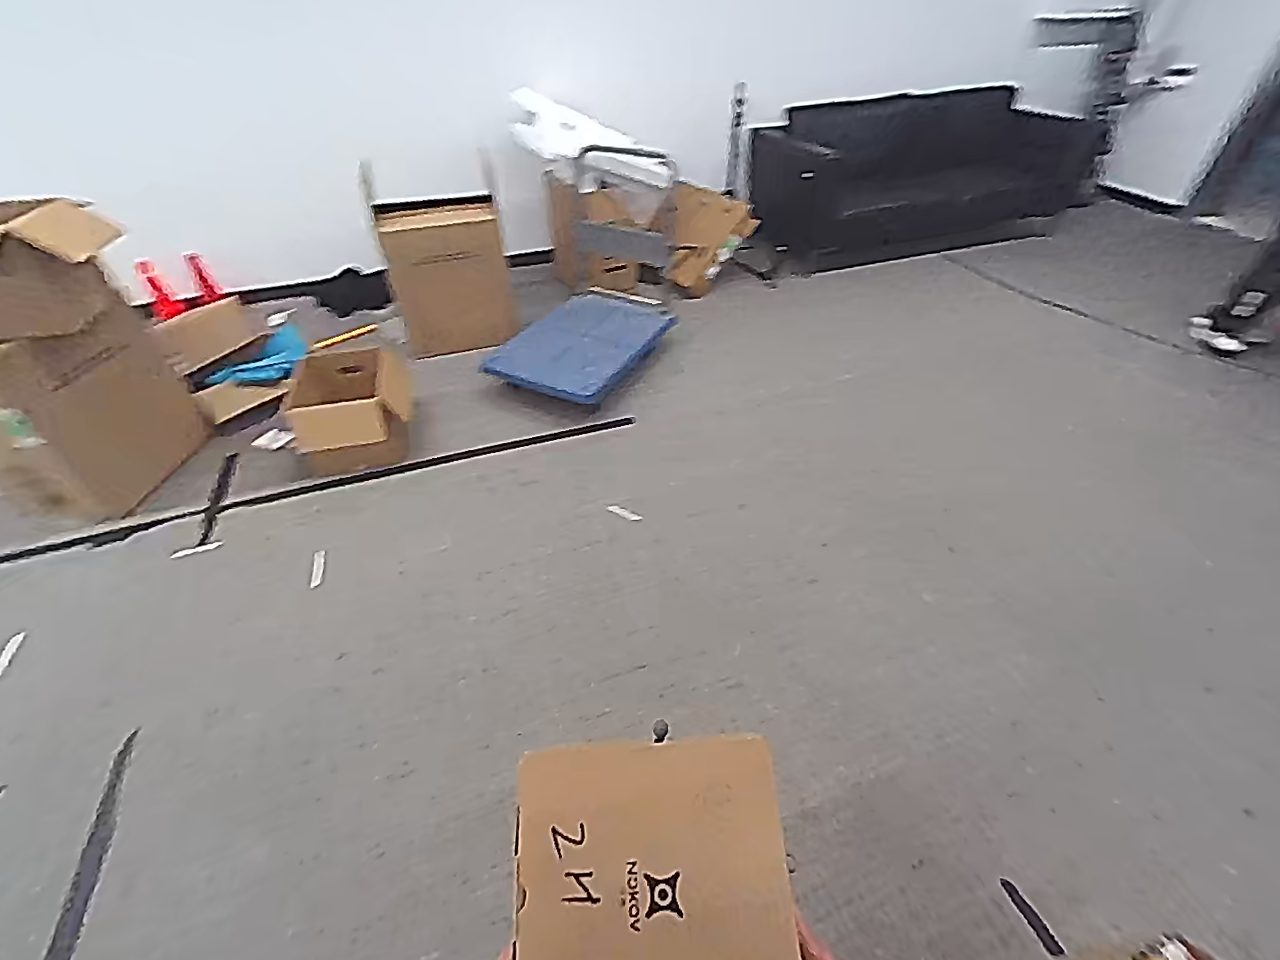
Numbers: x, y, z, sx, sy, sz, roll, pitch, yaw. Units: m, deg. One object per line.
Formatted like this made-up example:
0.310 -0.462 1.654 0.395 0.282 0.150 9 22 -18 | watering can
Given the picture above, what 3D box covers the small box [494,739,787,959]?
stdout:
0.008 0.286 0.404 0.179 0.176 0.168 -5 62 7 | small box
